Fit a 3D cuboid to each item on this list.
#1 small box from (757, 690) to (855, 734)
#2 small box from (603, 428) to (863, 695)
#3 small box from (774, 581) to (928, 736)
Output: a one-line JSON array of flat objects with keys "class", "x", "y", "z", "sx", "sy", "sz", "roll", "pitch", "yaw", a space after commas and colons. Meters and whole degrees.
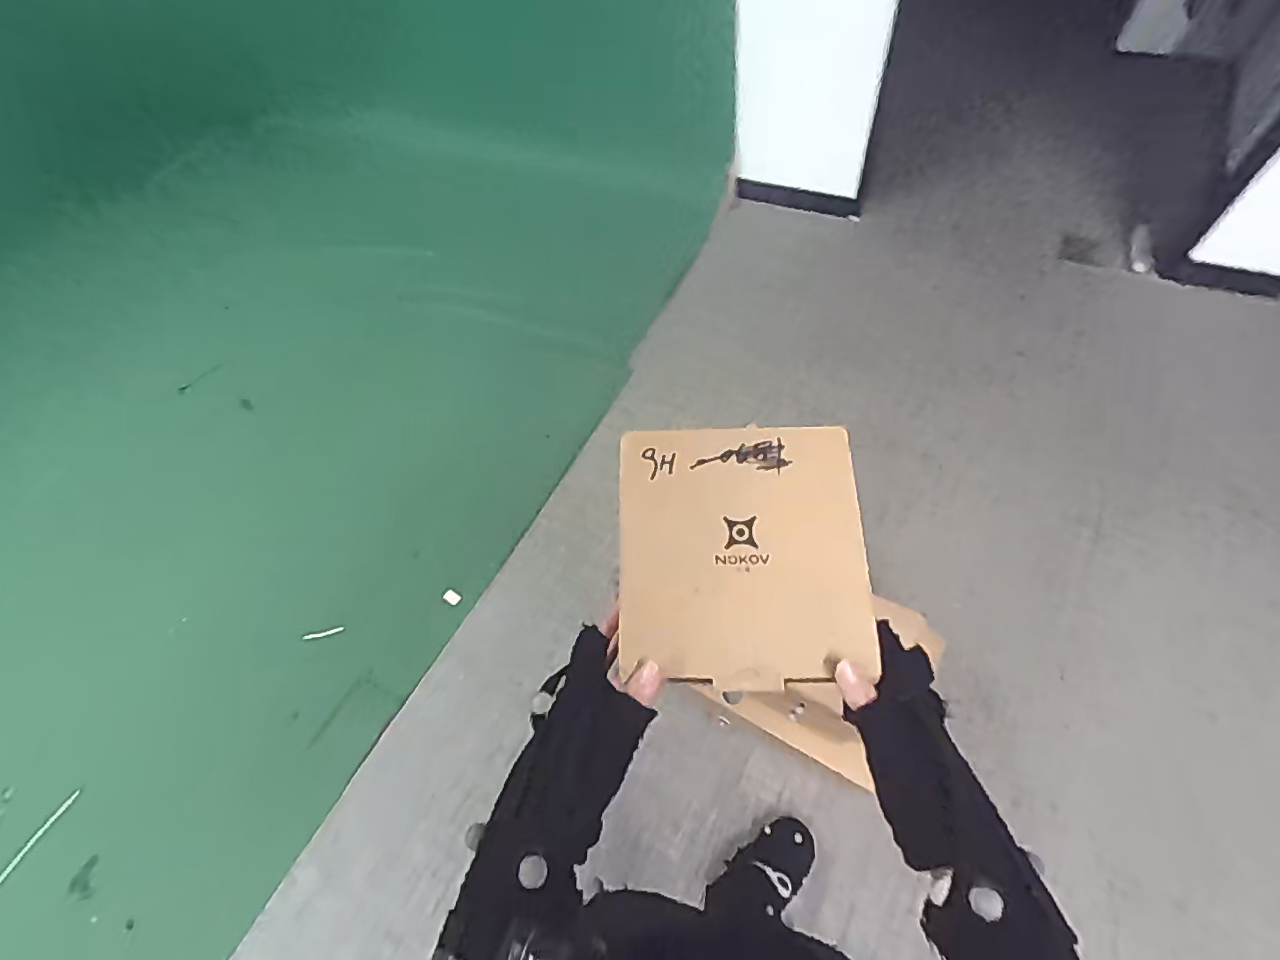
[{"class": "small box", "x": 0.305, "y": 0.317, "z": 0.922, "sx": 0.179, "sy": 0.176, "sz": 0.168, "roll": 23, "pitch": 70, "yaw": 20}, {"class": "small box", "x": 0.063, "y": 0.073, "z": 0.440, "sx": 0.168, "sy": 0.176, "sz": 0.179, "roll": -3, "pitch": 72, "yaw": 3}, {"class": "small box", "x": 0.278, "y": 0.246, "z": 0.777, "sx": 0.179, "sy": 0.176, "sz": 0.168, "roll": 22, "pitch": 69, "yaw": 23}]
